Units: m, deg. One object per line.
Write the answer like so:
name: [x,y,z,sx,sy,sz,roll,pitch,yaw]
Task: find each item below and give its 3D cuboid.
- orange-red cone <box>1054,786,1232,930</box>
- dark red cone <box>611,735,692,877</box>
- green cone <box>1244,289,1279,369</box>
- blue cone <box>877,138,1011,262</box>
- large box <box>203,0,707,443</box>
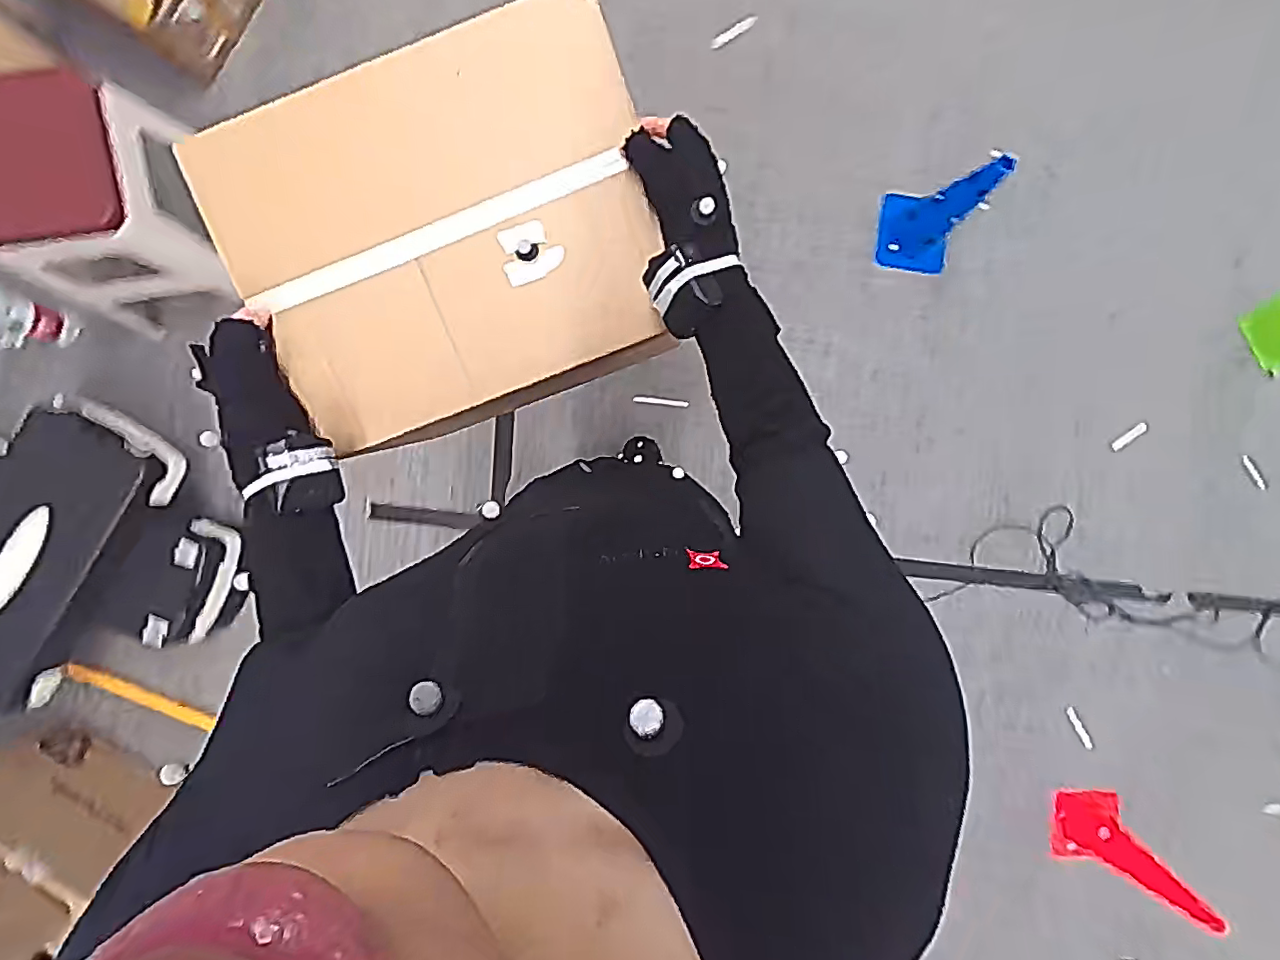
orange-red cone: [1.321,0.997,1.405,0.199,0.360,0.198,3,93,-4]
dark red cone: [0.038,0.804,1.312,0.202,0.394,0.201,11,90,-3]
green cone: [1.862,-0.442,1.378,0.200,0.368,0.202,-32,92,-2]
blue cone: [0.761,-0.701,1.332,0.193,0.380,0.192,9,91,-3]
large box: [-0.173,-0.263,0.657,0.408,0.320,0.320,-20,99,2]
